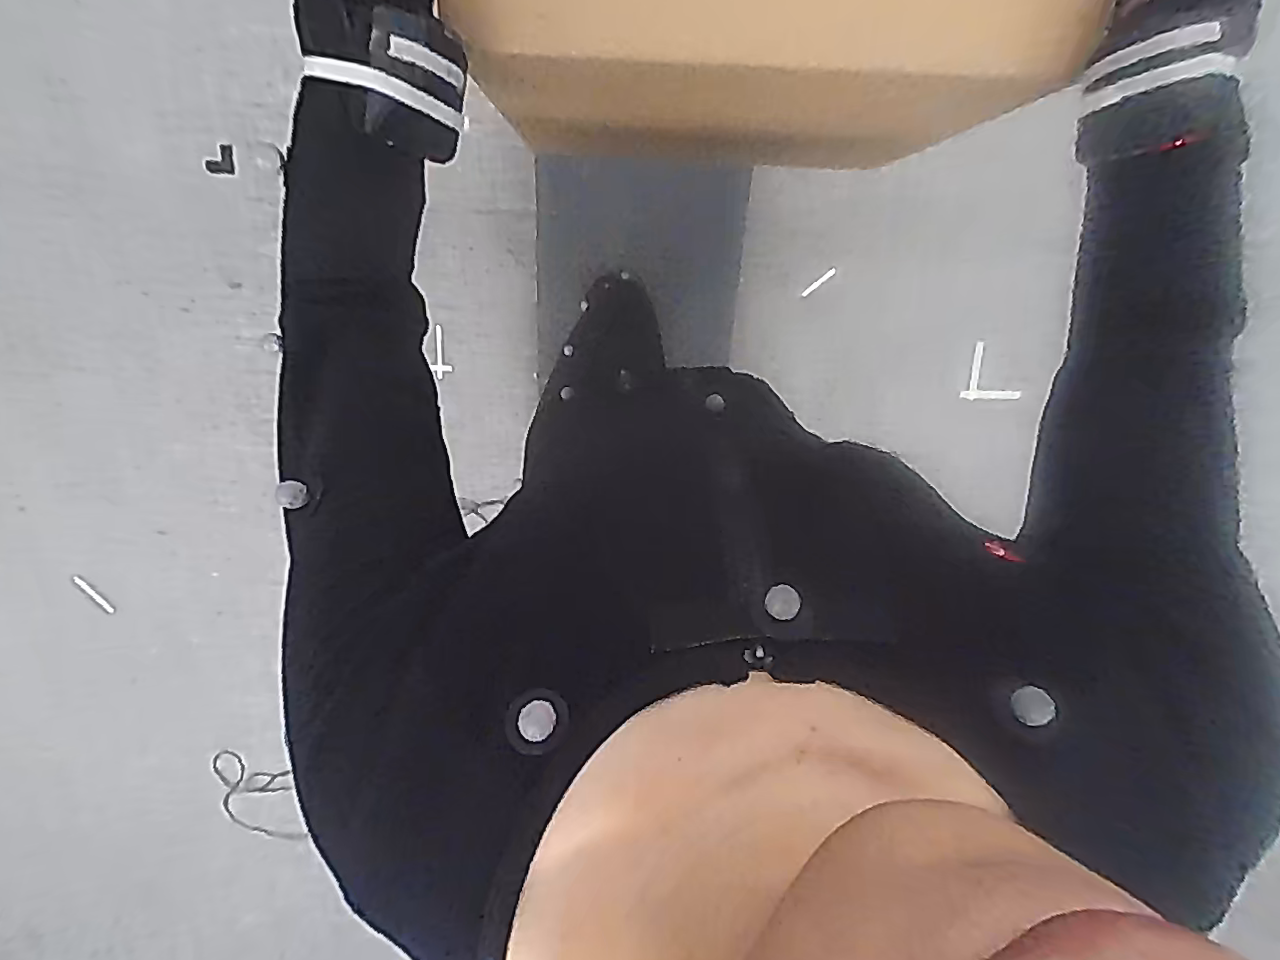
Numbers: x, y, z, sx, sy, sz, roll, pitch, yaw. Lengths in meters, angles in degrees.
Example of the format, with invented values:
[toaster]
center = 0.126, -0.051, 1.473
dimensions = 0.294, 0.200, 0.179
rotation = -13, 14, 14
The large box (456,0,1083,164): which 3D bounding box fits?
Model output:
[large box]
center = 0.079, -0.462, 0.436
dimensions = 0.408, 0.320, 0.320
rotation = 1, 111, -2
